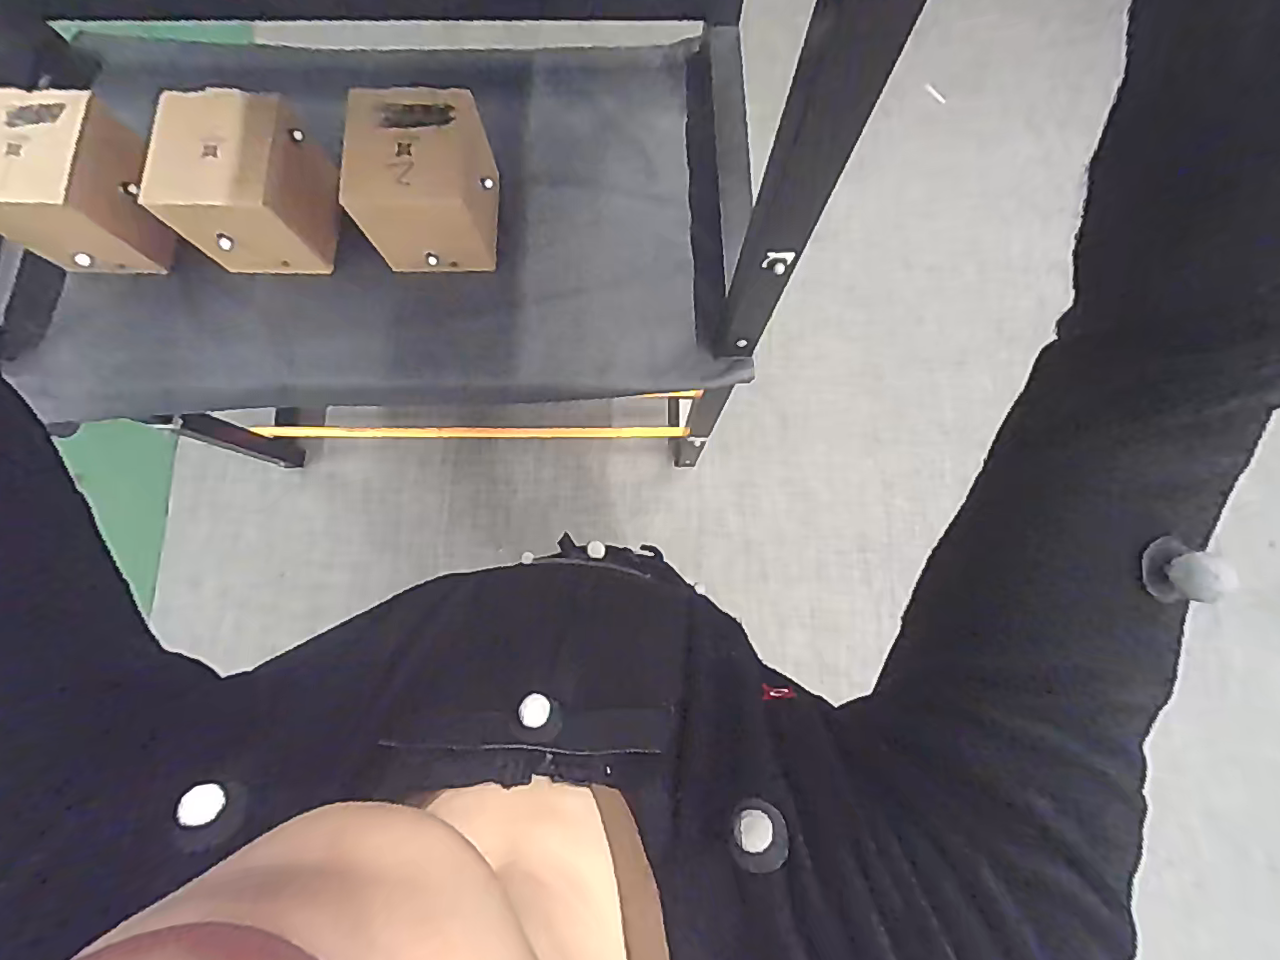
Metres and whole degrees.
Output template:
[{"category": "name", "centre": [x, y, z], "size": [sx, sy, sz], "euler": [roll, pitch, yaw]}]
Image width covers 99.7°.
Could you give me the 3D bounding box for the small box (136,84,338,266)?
[{"category": "small box", "centre": [-0.574, -0.436, 0.795], "size": [0.168, 0.176, 0.179], "euler": [1, 80, -1]}]

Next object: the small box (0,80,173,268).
[{"category": "small box", "centre": [-0.827, -0.437, 0.790], "size": [0.168, 0.176, 0.179], "euler": [1, 80, 0]}]
